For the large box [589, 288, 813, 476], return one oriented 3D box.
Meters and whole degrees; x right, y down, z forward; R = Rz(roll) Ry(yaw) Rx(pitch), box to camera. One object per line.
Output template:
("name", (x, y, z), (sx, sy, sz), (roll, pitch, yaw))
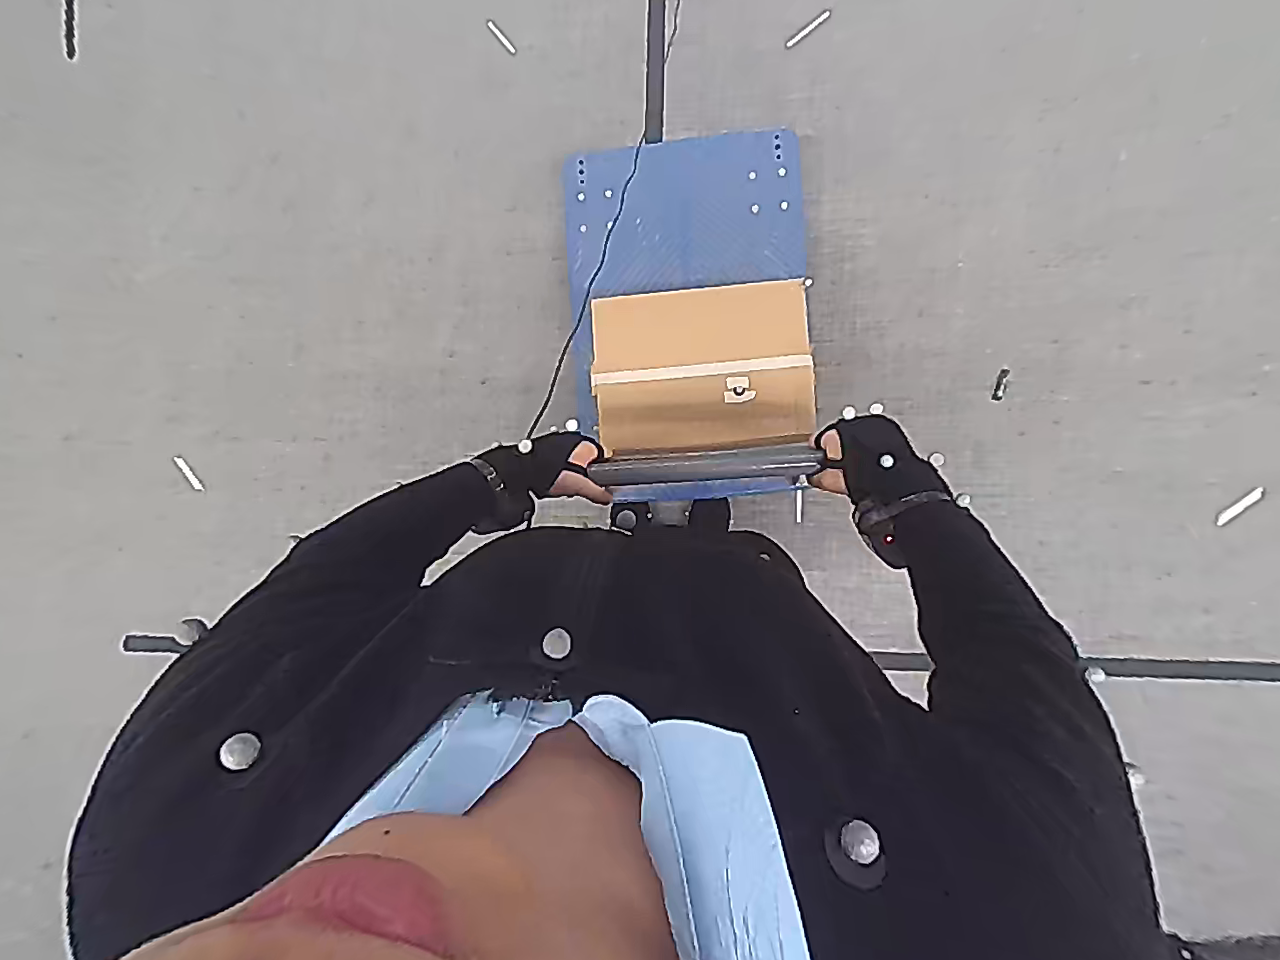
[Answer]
("large box", (0.121, -0.184, 1.161), (0.408, 0.320, 0.320), (-4, 88, 5))
